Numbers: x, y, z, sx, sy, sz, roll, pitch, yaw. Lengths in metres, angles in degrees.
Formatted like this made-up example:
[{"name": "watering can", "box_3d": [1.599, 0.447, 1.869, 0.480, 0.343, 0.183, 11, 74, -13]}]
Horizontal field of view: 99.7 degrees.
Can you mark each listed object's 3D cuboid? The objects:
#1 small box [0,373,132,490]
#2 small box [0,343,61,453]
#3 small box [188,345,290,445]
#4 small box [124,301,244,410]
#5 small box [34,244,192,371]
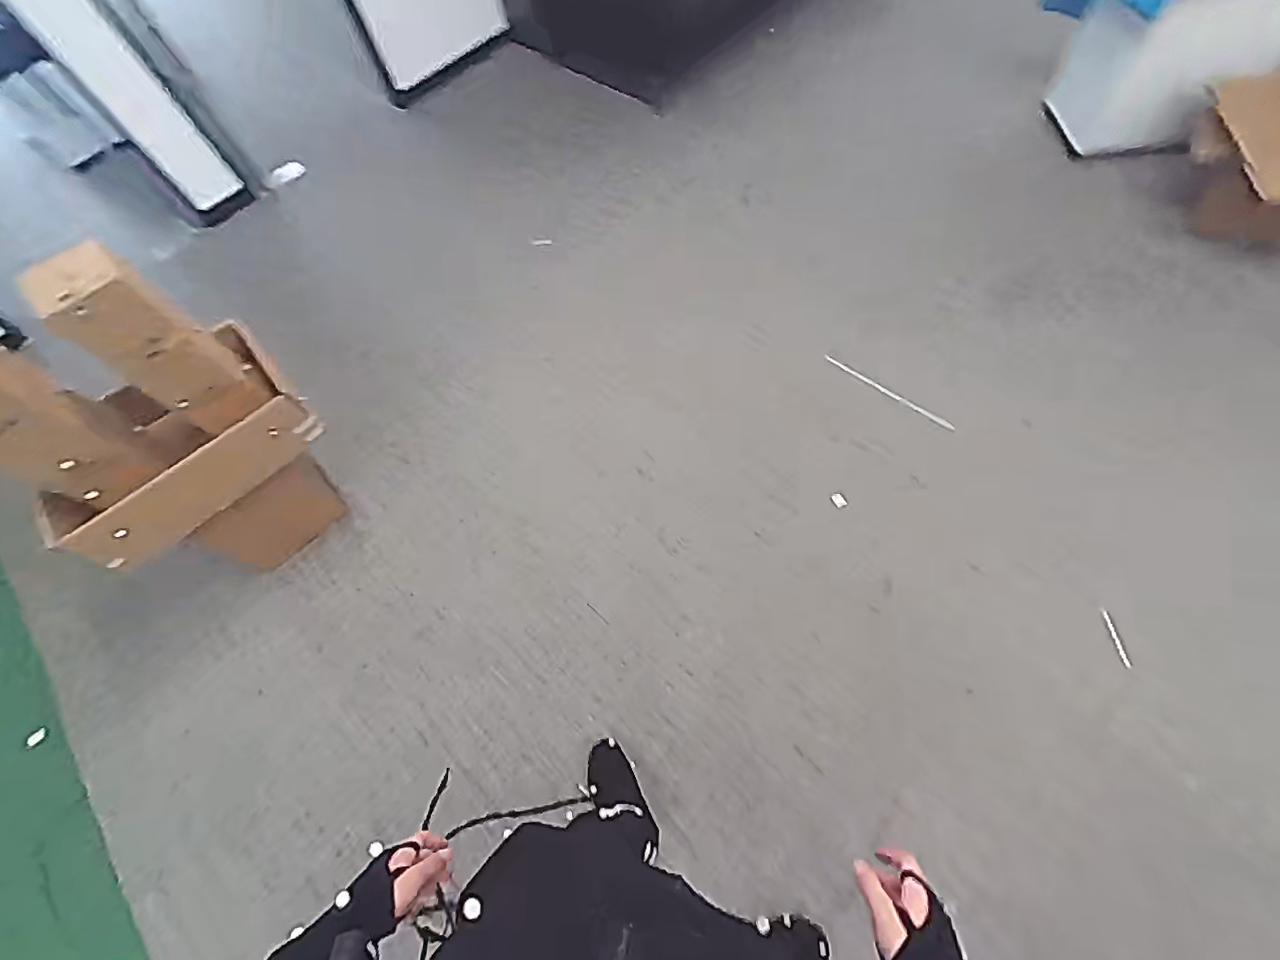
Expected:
[{"name": "small box", "box_3d": [-1.363, -0.108, 1.271, 0.168, 0.176, 0.179, -38, 65, -11]}, {"name": "small box", "box_3d": [-1.382, -0.182, 1.127, 0.168, 0.176, 0.179, -39, 64, -11]}, {"name": "small box", "box_3d": [-1.117, -0.229, 1.487, 0.168, 0.176, 0.179, -40, 66, -13]}, {"name": "small box", "box_3d": [-1.133, -0.298, 1.338, 0.168, 0.176, 0.179, -38, 65, -13]}, {"name": "small box", "box_3d": [-1.156, -0.376, 1.195, 0.168, 0.176, 0.179, -41, 65, -13]}]
